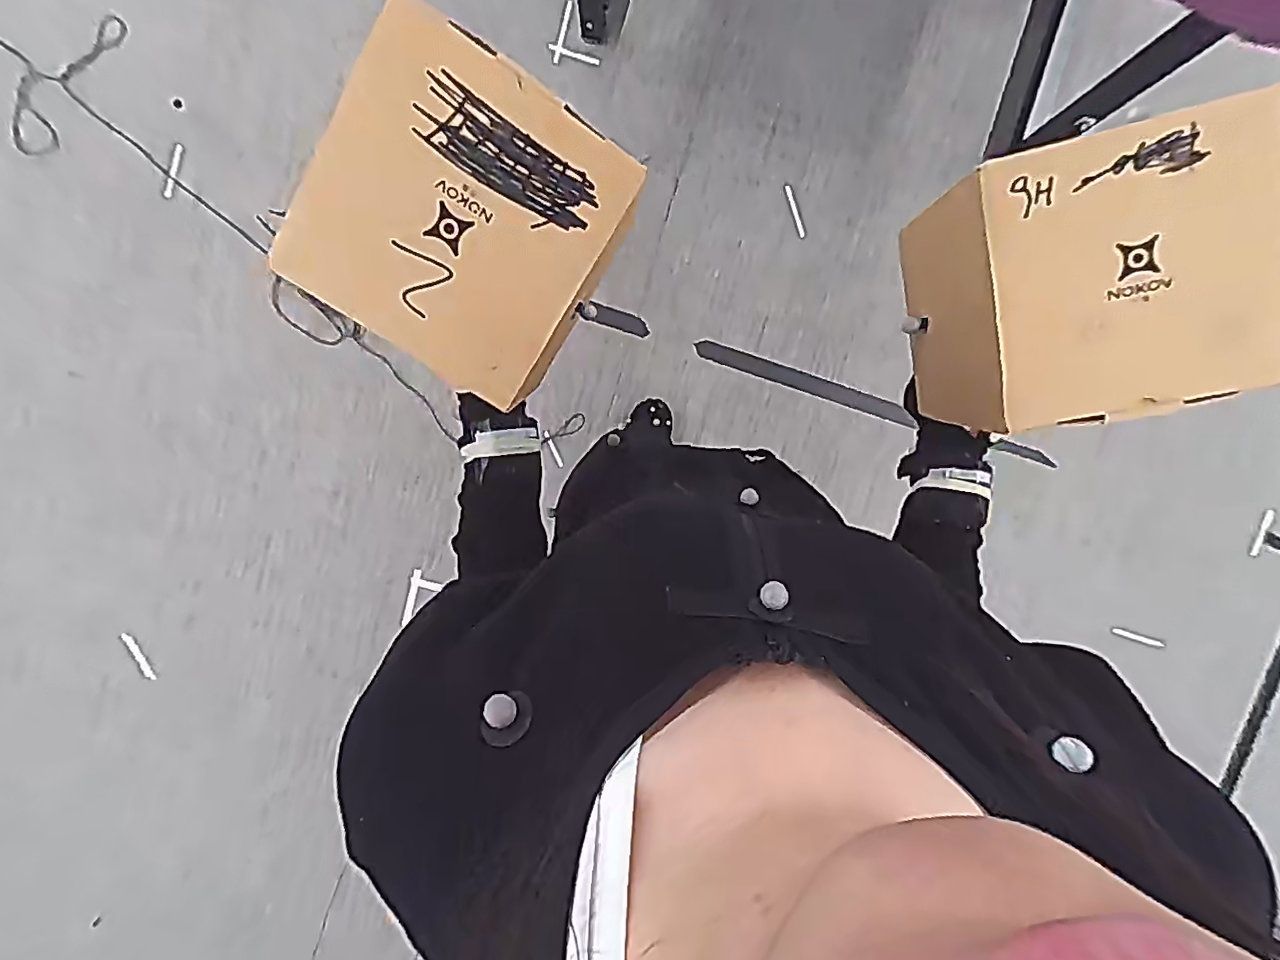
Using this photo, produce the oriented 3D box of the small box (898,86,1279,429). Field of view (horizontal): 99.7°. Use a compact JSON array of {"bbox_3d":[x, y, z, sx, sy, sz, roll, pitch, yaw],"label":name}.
[{"bbox_3d":[0.317,-0.149,0.417,0.168,0.176,0.179,-10,101,10],"label":"small box"}]
